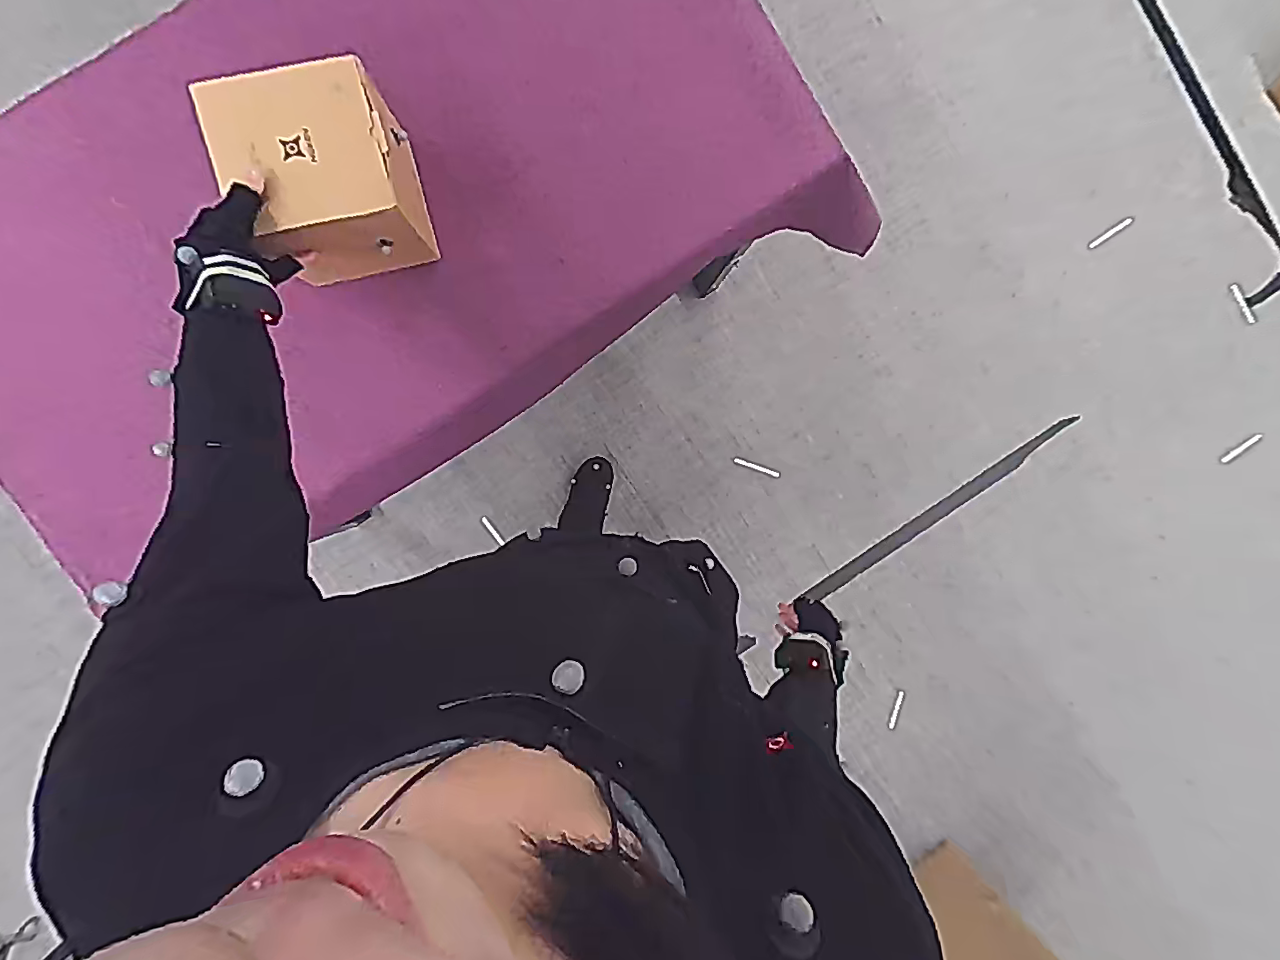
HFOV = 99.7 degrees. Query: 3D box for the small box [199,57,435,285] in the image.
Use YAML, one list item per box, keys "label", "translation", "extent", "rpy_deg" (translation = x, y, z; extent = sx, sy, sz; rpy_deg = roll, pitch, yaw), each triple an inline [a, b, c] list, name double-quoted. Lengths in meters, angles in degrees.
- label: "small box"
  translation: [-0.366, -0.357, 0.656]
  extent: [0.179, 0.176, 0.168]
  rpy_deg: [-14, 93, -3]
